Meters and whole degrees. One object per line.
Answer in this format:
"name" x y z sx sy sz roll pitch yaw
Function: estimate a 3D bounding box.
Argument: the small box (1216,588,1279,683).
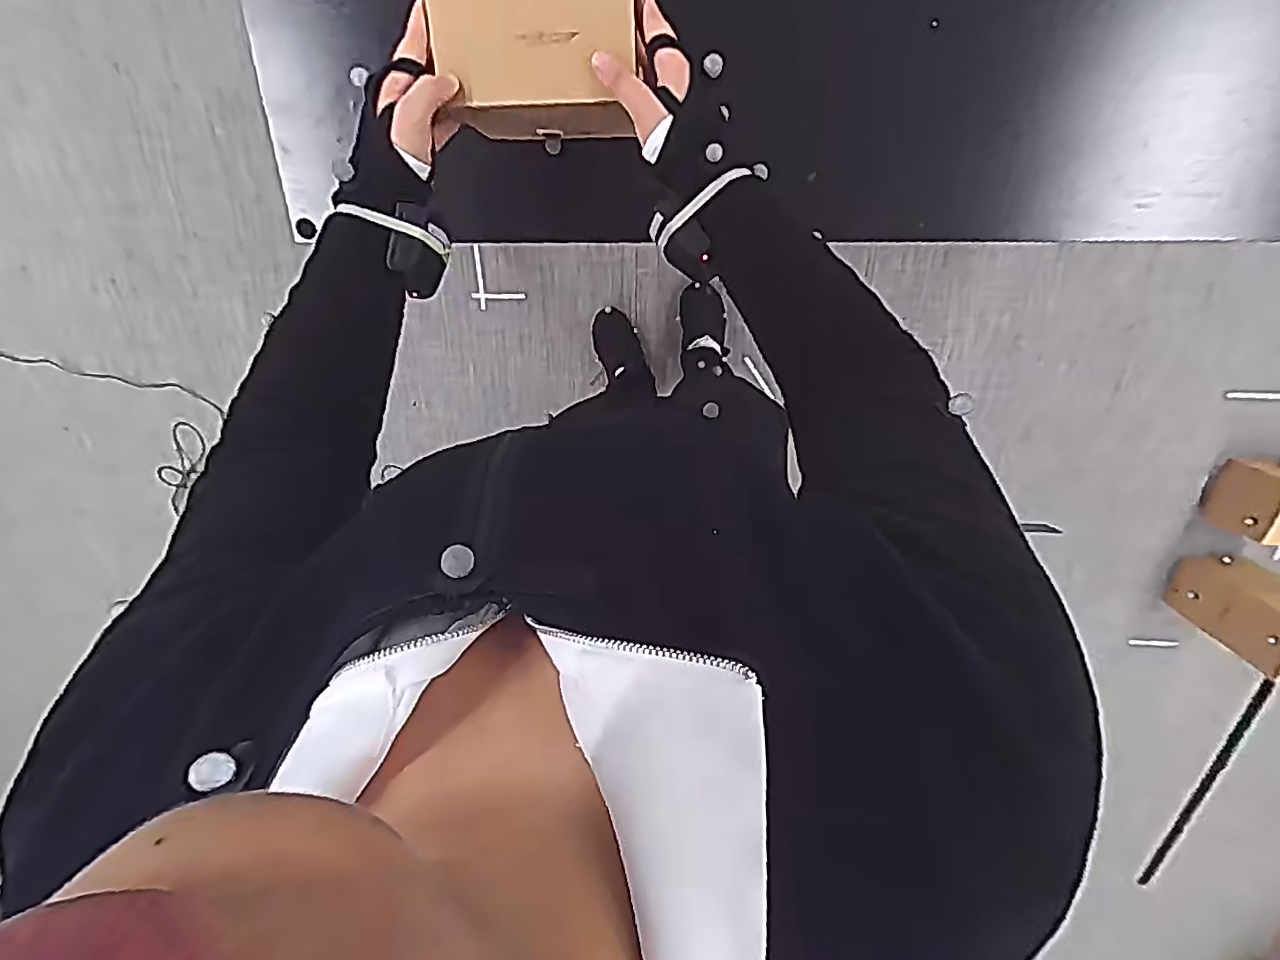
"small box" 1.650 0.391 1.378 0.168 0.176 0.179 -1 115 3

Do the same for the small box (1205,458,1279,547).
"small box" 1.652 0.058 1.408 0.168 0.176 0.179 2 114 1

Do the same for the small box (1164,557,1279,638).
"small box" 1.660 0.330 1.532 0.179 0.176 0.168 -1 114 4

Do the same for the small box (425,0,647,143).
"small box" -0.080 -0.415 0.477 0.168 0.176 0.179 0 114 3
